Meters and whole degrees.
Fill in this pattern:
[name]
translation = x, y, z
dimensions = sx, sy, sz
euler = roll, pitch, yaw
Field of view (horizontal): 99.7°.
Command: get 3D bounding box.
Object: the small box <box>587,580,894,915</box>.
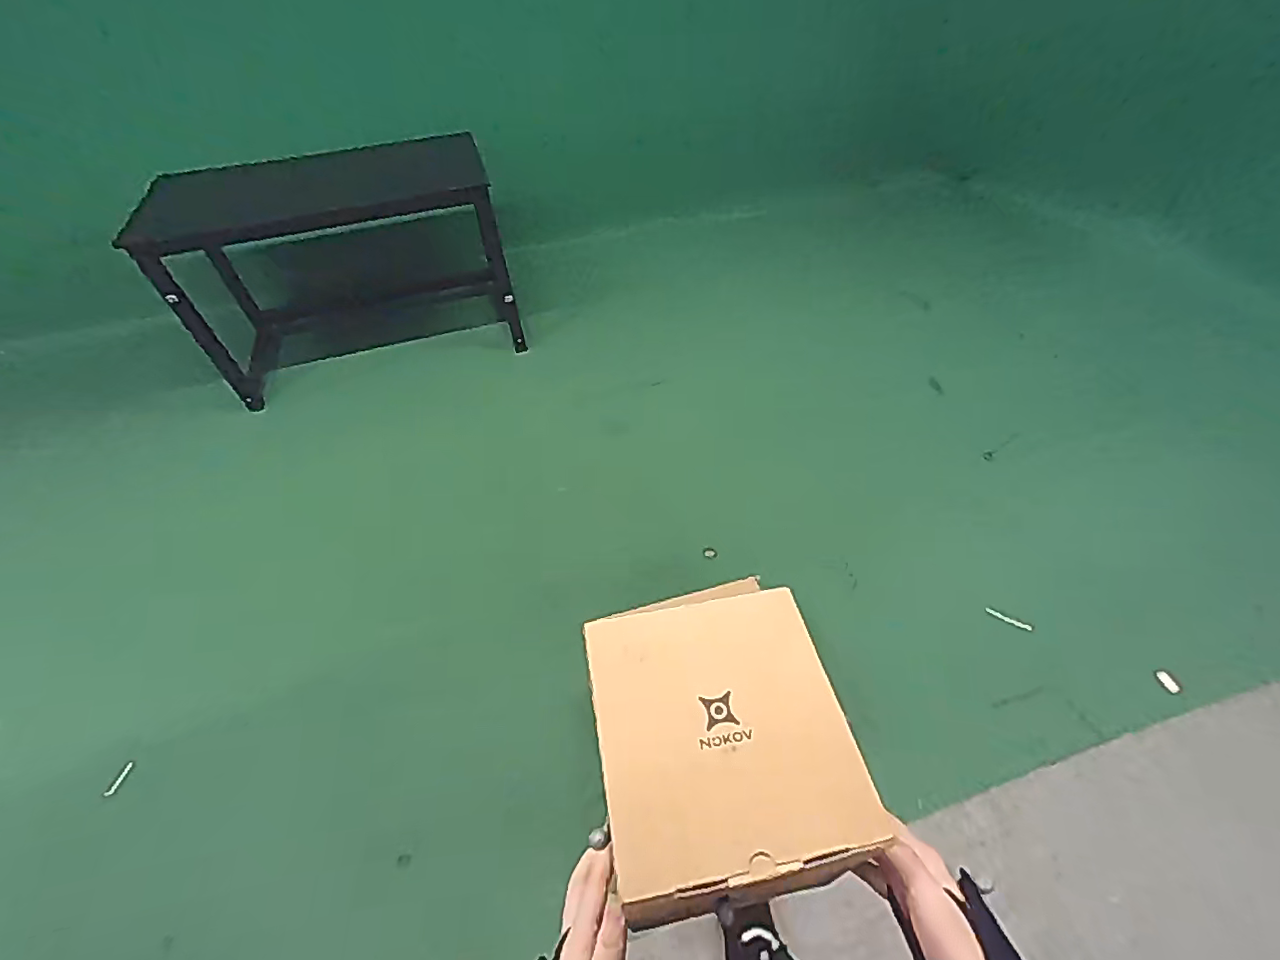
[small box]
translation = 0.052, 0.204, 0.416
dimensions = 0.168, 0.176, 0.179
euler = -8, 49, -8
